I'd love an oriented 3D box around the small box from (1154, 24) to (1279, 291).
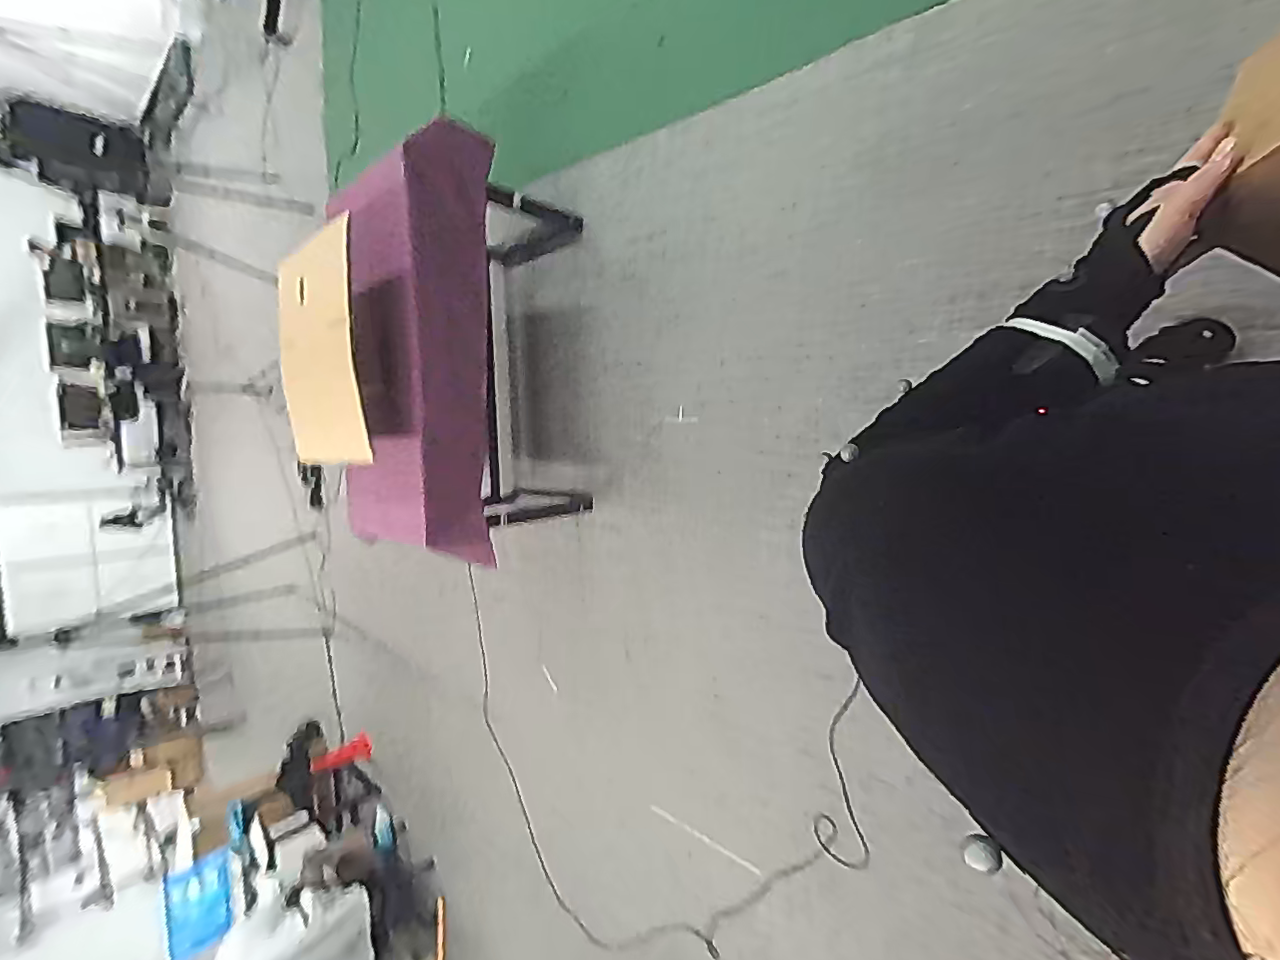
[{"bbox_3d":[0.513,-0.238,0.346,0.179,0.168,0.176,31,80,7],"label":"small box"}]
